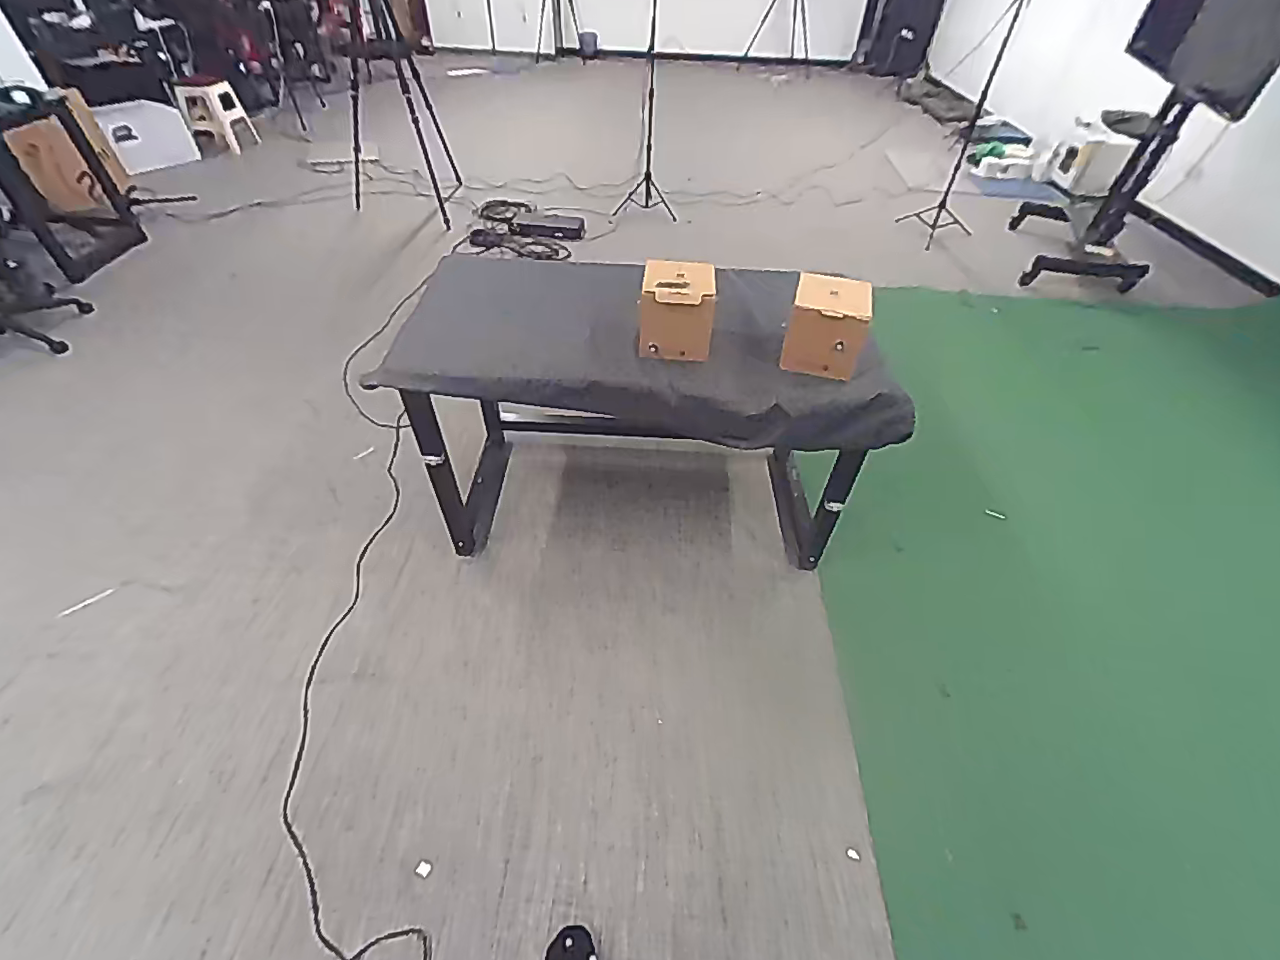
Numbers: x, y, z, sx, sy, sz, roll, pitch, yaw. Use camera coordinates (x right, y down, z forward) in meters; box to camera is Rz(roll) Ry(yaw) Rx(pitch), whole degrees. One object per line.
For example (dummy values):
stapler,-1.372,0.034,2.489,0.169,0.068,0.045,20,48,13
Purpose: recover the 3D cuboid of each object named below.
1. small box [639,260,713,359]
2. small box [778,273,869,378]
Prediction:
small box,0.086,-0.409,1.303,0.168,0.176,0.179,5,45,1
small box,0.429,-0.362,1.275,0.168,0.176,0.179,13,45,9
